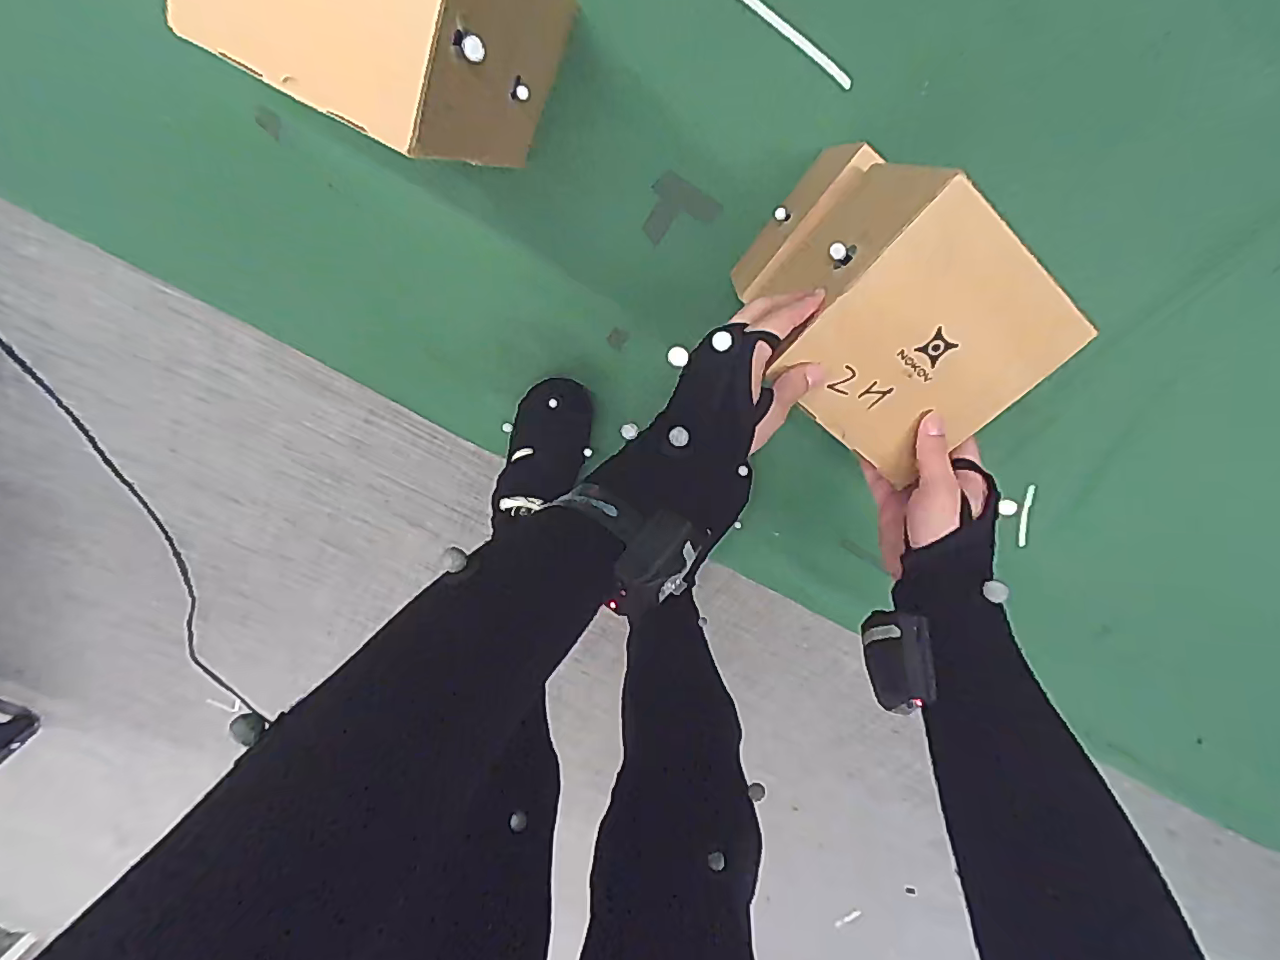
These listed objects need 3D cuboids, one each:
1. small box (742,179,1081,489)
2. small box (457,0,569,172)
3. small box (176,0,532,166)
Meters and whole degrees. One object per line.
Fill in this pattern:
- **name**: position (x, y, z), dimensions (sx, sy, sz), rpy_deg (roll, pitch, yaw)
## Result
- **small box**: position (0.209, -0.133, 0.472), dimensions (0.168, 0.176, 0.179), rpy_deg (35, 117, -18)
- **small box**: position (-0.185, -0.440, 0.546), dimensions (0.168, 0.176, 0.179), rpy_deg (26, 118, -10)
- **small box**: position (-0.191, -0.364, 0.402), dimensions (0.168, 0.176, 0.179), rpy_deg (25, 119, -9)
